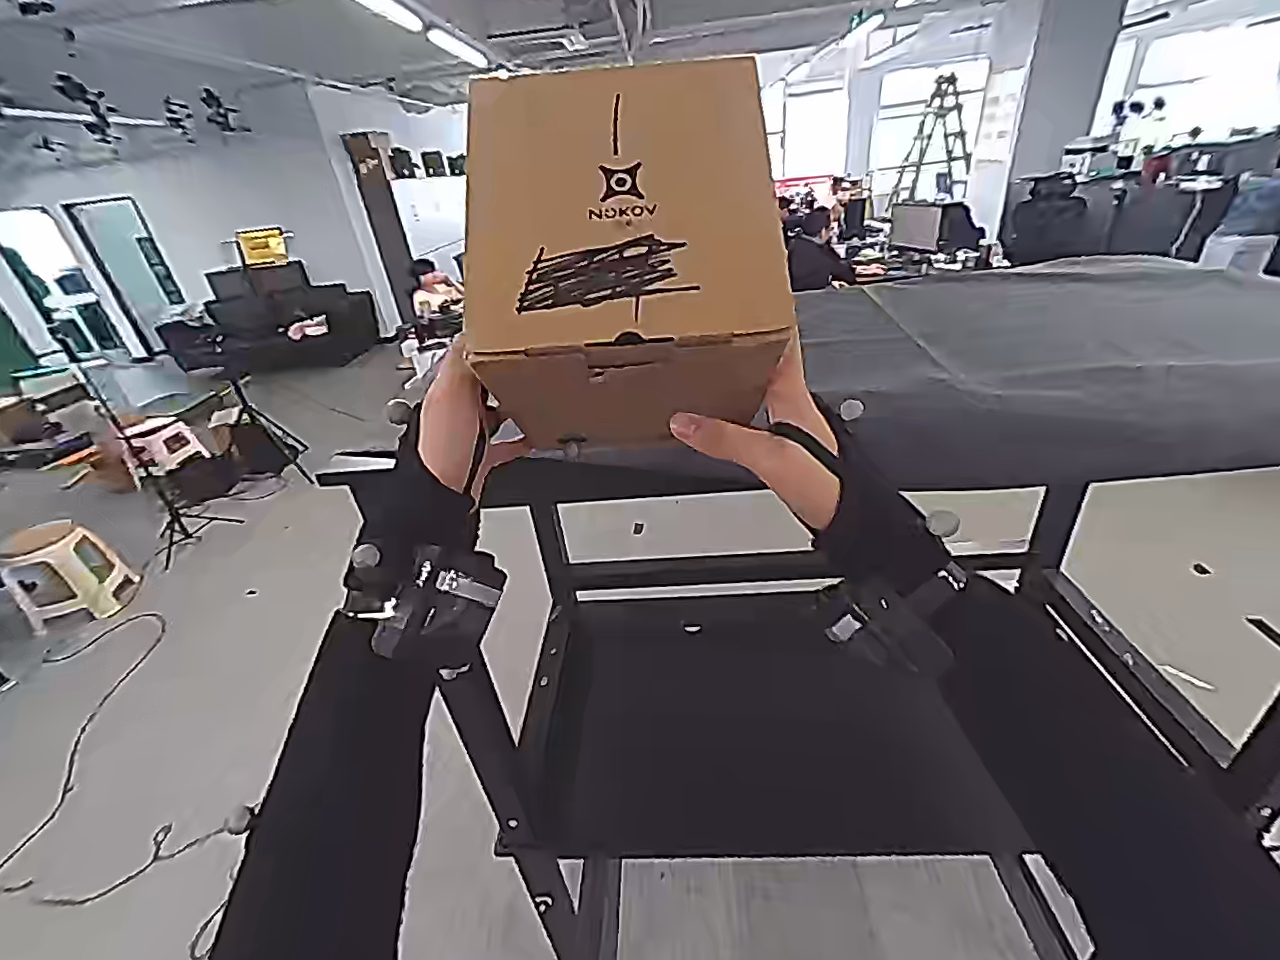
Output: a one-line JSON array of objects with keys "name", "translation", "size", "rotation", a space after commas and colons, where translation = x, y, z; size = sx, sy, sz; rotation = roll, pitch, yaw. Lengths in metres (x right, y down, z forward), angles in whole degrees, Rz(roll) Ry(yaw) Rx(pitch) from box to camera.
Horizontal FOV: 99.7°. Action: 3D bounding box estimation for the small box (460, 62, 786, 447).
[{"name": "small box", "translation": [-0.009, -0.126, 0.363], "size": [0.168, 0.176, 0.179], "rotation": [-4, 76, 1]}]
